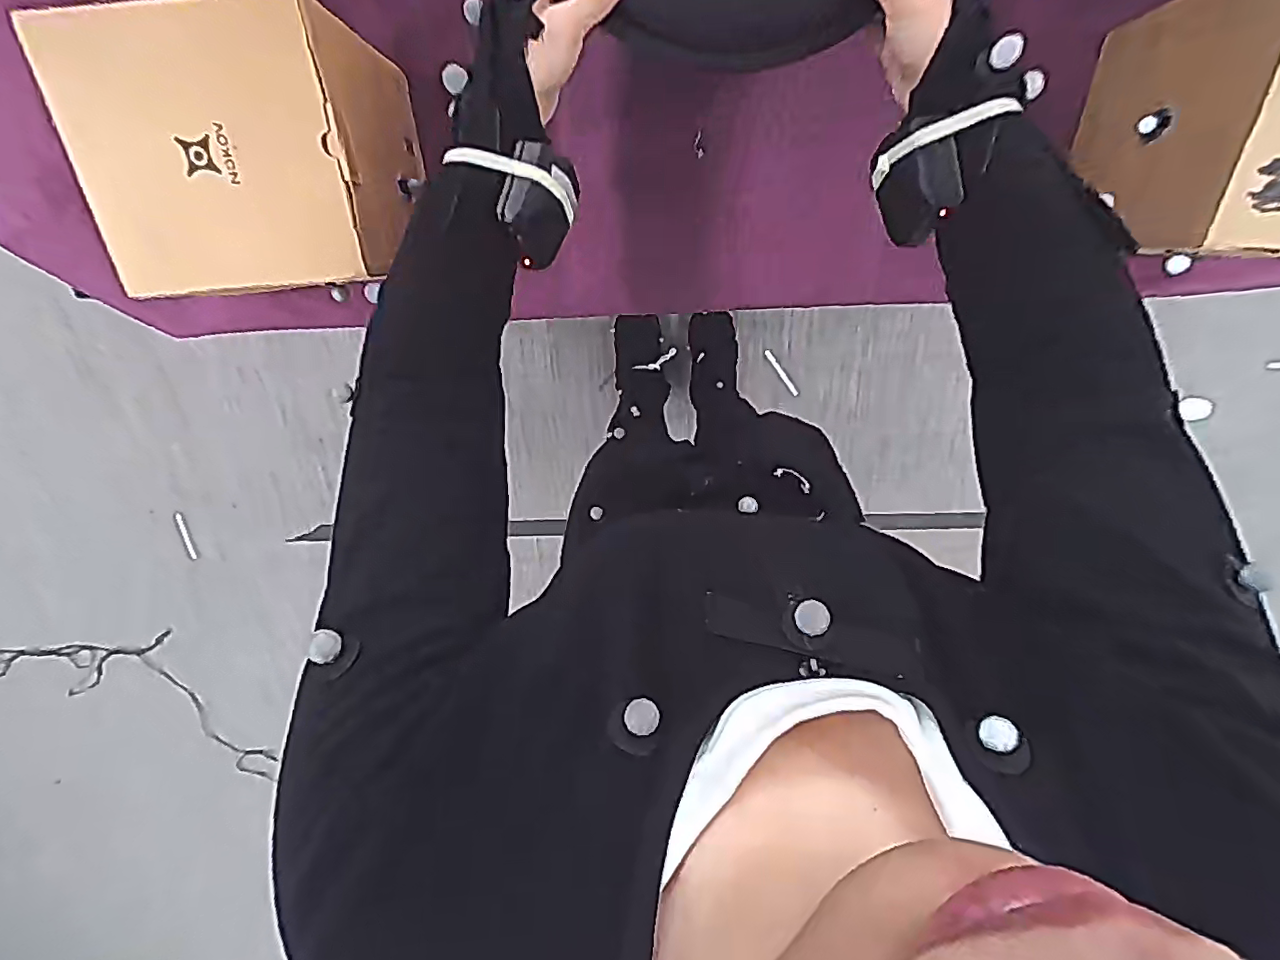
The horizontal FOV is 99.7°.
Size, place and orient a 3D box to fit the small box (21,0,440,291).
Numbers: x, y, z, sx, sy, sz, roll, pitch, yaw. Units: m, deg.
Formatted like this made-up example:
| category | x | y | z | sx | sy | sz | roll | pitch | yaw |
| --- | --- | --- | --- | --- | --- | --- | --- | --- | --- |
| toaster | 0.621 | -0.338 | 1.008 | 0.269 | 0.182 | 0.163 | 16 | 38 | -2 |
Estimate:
| category | x | y | z | sx | sy | sz | roll | pitch | yaw |
| --- | --- | --- | --- | --- | --- | --- | --- | --- | --- |
| small box | -0.285 | -0.244 | 0.429 | 0.179 | 0.176 | 0.168 | -6 | 112 | 0 |
